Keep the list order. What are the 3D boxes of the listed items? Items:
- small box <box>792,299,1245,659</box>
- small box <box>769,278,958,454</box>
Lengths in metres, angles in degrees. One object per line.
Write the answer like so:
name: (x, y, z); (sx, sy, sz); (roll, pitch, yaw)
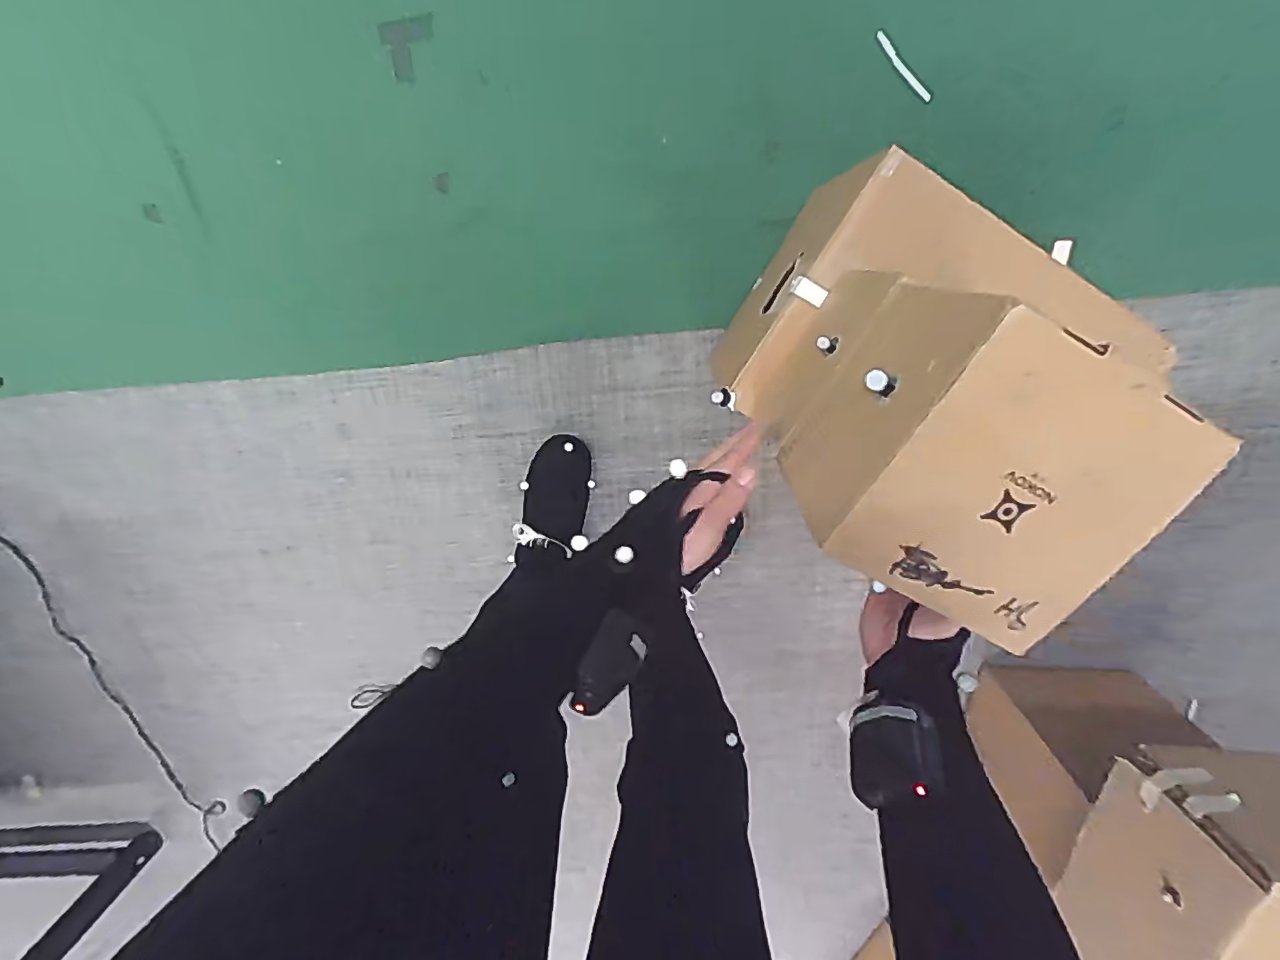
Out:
small box: (0.234, -0.015, 0.396); (0.168, 0.176, 0.179); (28, 111, -8)
small box: (0.249, -0.086, 0.543); (0.168, 0.176, 0.179); (29, 112, -8)
